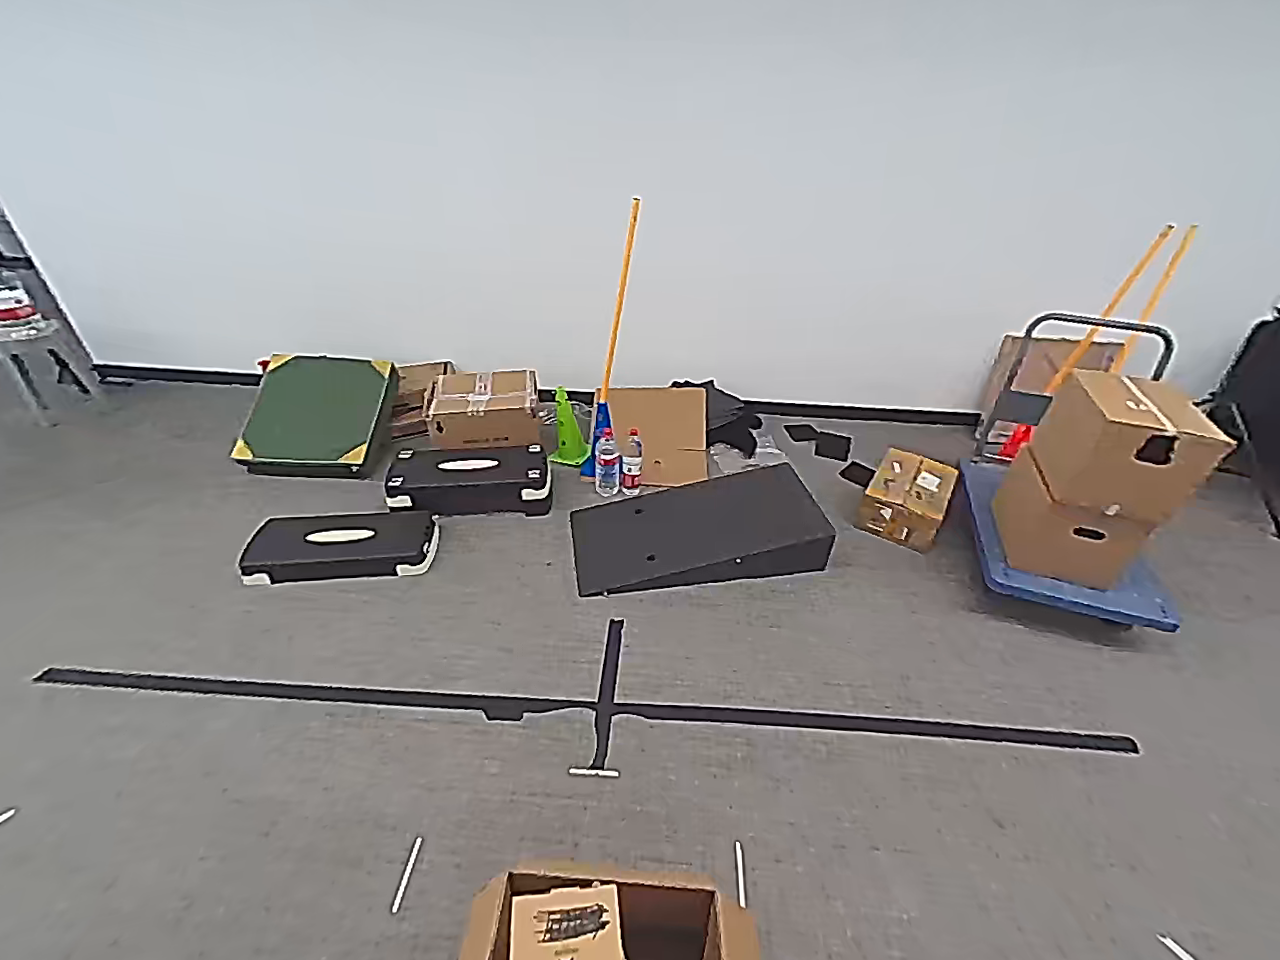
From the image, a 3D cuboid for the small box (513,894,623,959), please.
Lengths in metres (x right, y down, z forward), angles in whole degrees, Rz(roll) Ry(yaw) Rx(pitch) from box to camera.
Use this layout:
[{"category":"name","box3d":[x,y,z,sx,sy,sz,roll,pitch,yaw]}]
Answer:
[{"category":"small box","box3d":[-0.123,0.878,0.953,0.179,0.176,0.168,-6,39,-17]}]
